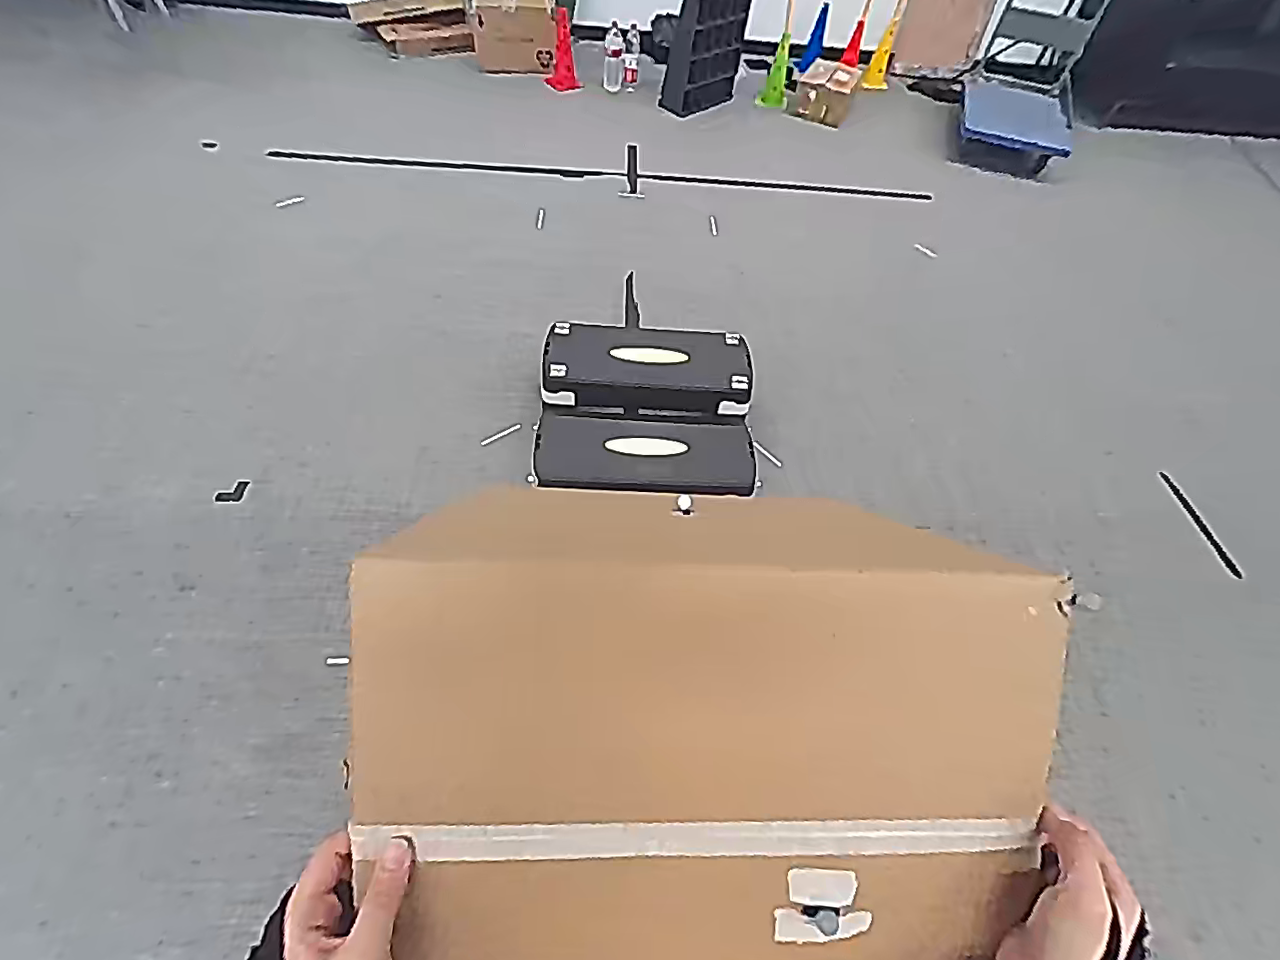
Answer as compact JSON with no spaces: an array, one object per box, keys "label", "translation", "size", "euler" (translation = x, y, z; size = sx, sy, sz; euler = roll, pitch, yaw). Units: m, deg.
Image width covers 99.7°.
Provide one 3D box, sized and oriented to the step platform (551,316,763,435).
[{"label":"step platform","translation":[0.055,-0.349,1.782],"size":[0.684,0.204,0.286],"euler":[7,54,-1]}]
